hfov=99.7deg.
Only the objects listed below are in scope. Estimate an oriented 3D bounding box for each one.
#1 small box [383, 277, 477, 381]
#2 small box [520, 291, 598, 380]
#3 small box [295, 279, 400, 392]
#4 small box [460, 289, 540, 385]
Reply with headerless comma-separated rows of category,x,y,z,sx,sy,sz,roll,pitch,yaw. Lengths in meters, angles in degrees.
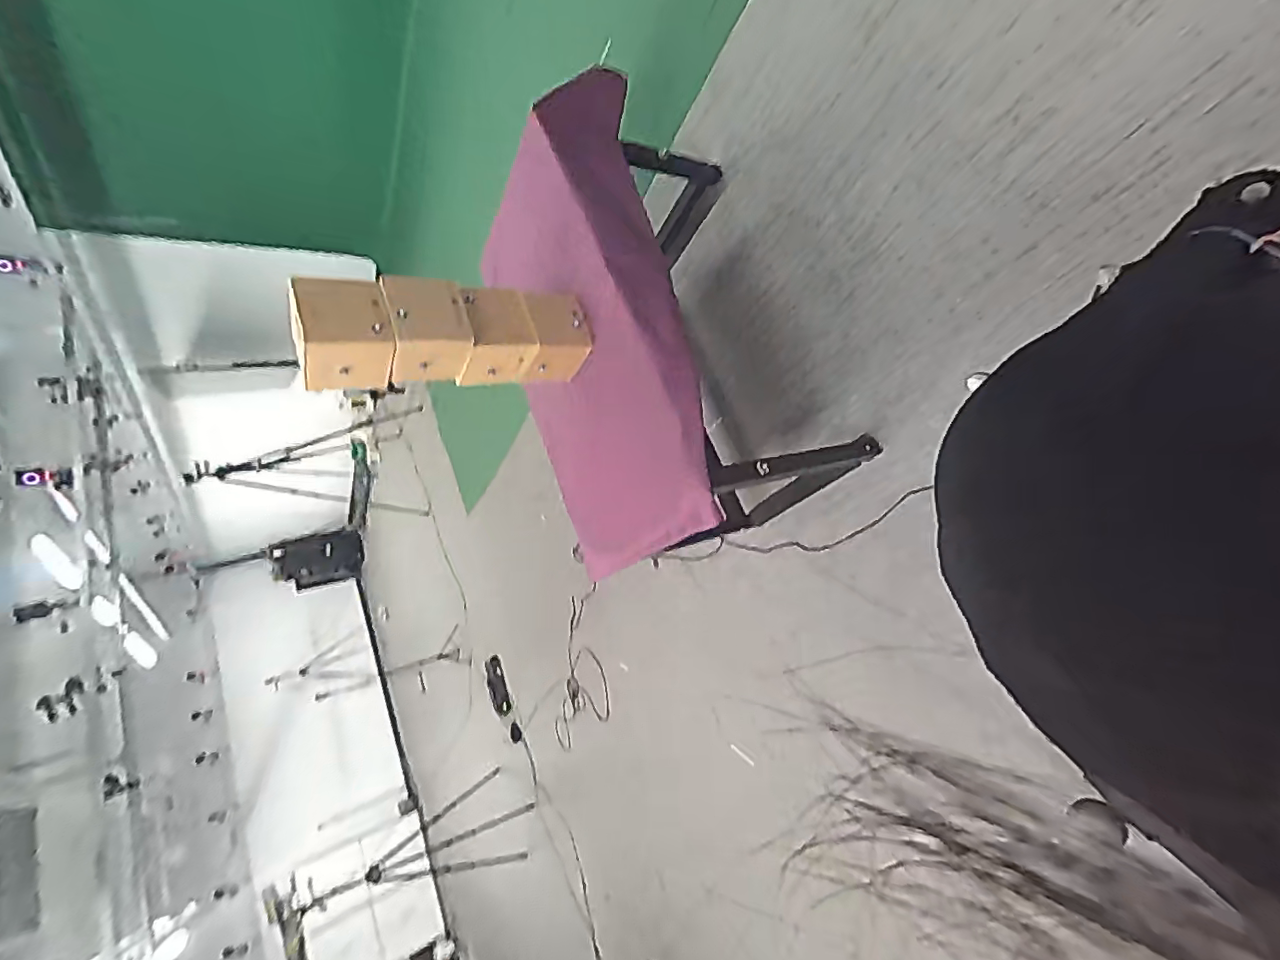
small box,-0.492,-0.346,1.252,0.179,0.176,0.168,-36,70,53
small box,-0.238,-0.384,1.454,0.179,0.176,0.168,-37,70,51
small box,-0.630,-0.310,1.169,0.179,0.176,0.168,-43,65,52
small box,-0.371,-0.363,1.364,0.168,0.176,0.179,-40,67,51
